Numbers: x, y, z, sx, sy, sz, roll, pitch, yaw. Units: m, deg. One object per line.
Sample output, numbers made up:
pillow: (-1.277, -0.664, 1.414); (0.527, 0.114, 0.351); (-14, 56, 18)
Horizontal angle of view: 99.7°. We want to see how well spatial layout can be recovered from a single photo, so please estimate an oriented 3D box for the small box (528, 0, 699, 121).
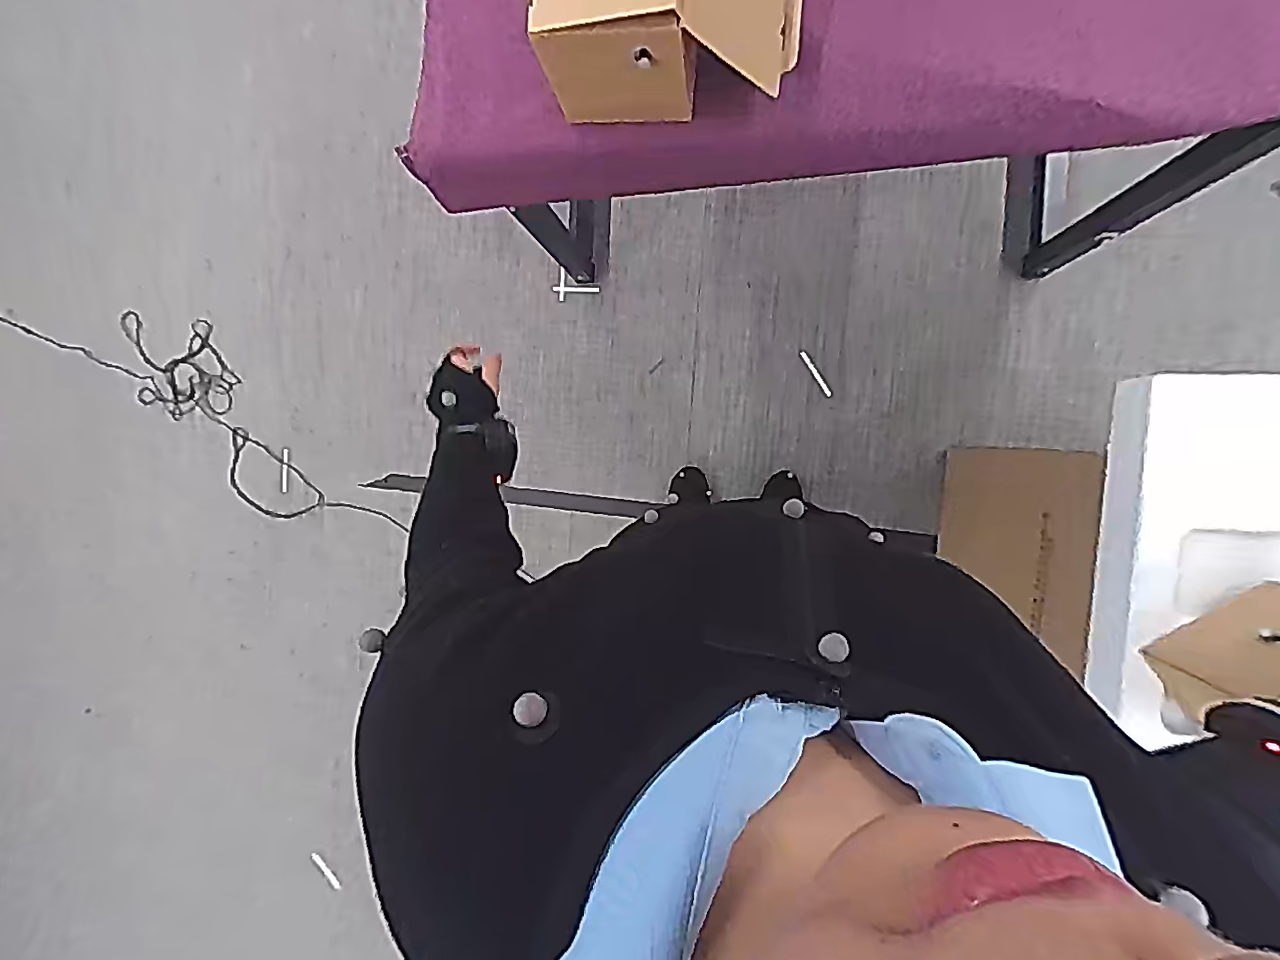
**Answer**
small box: (-0.021, -0.579, 0.671); (0.179, 0.176, 0.168); (5, 92, 10)
